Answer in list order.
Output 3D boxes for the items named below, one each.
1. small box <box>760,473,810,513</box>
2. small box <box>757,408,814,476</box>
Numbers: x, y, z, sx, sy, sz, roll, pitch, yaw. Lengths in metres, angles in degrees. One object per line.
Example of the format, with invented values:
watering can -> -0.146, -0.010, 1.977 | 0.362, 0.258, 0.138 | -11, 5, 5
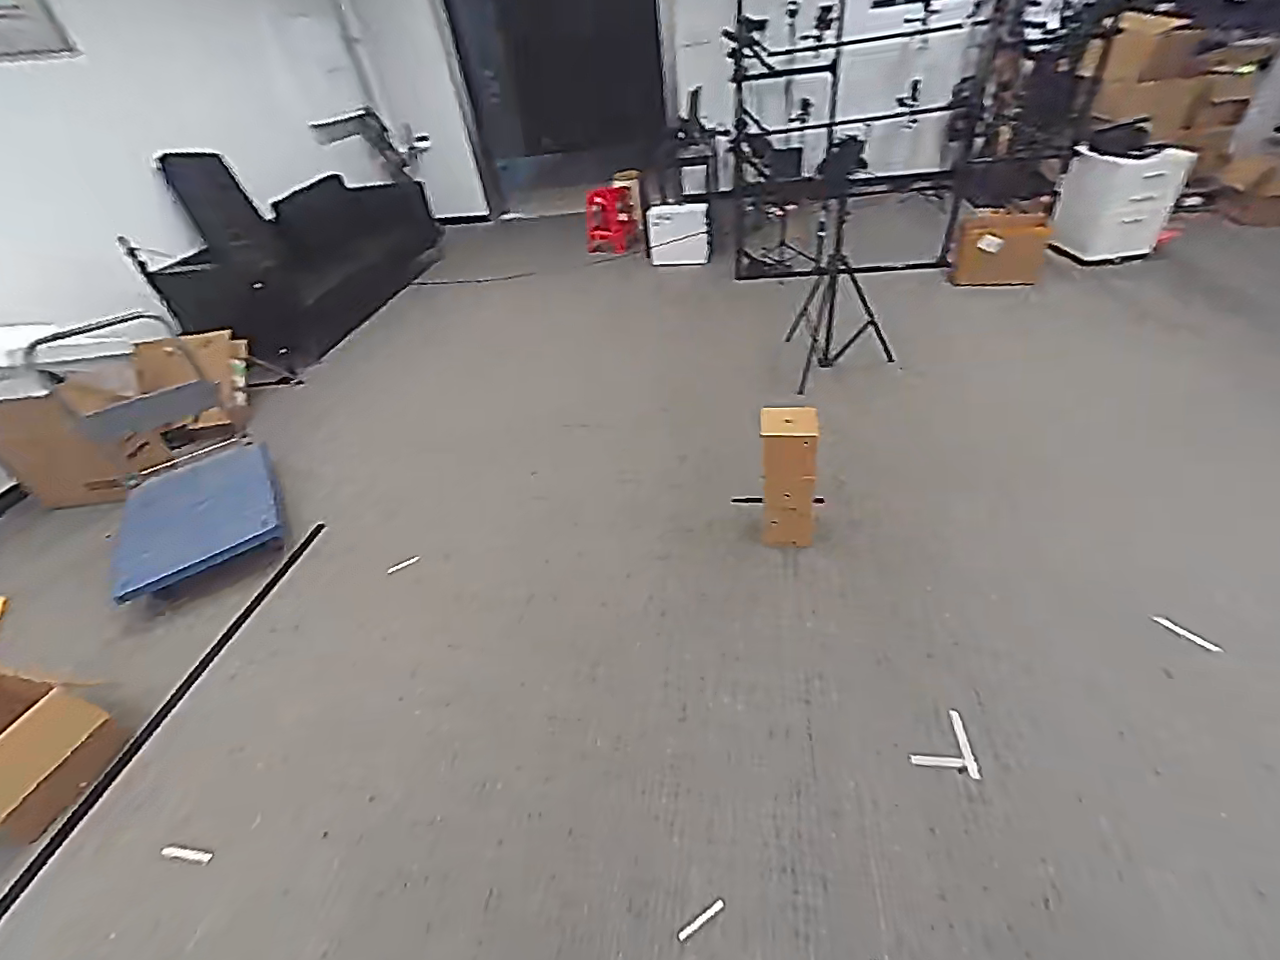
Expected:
small box -> 0.514, 0.001, 1.914 | 0.168, 0.176, 0.179 | 3, 40, 14
small box -> 0.484, -0.126, 1.816 | 0.179, 0.176, 0.168 | 0, 40, 11
